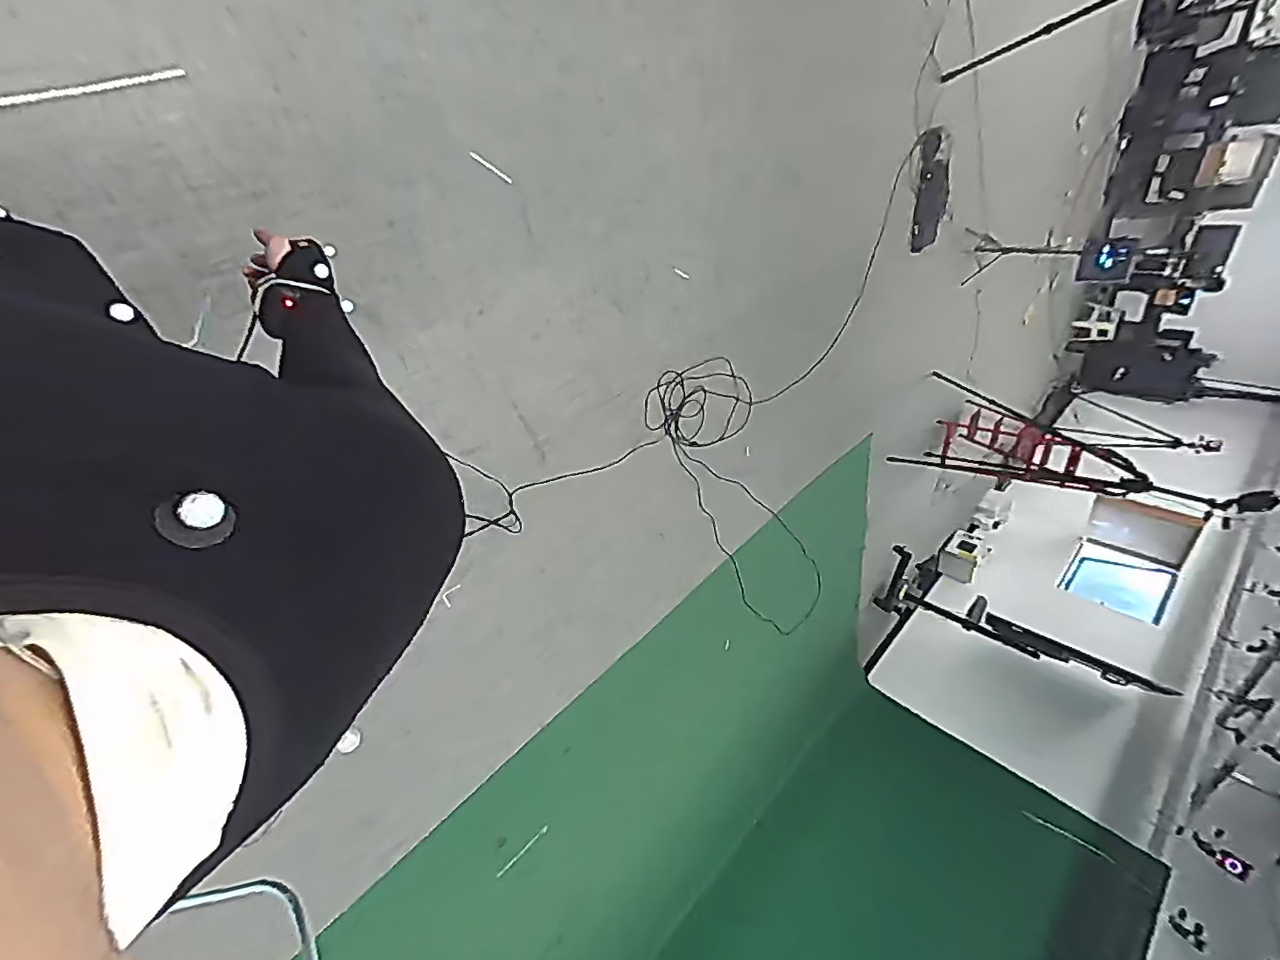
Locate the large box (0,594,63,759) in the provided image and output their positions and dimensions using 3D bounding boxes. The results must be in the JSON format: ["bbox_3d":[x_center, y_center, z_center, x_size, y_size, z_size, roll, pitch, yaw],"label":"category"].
[{"bbox_3d":[-1.262,0.310,0.847,0.320,0.320,0.408,-43,134,-23],"label":"large box"}]
